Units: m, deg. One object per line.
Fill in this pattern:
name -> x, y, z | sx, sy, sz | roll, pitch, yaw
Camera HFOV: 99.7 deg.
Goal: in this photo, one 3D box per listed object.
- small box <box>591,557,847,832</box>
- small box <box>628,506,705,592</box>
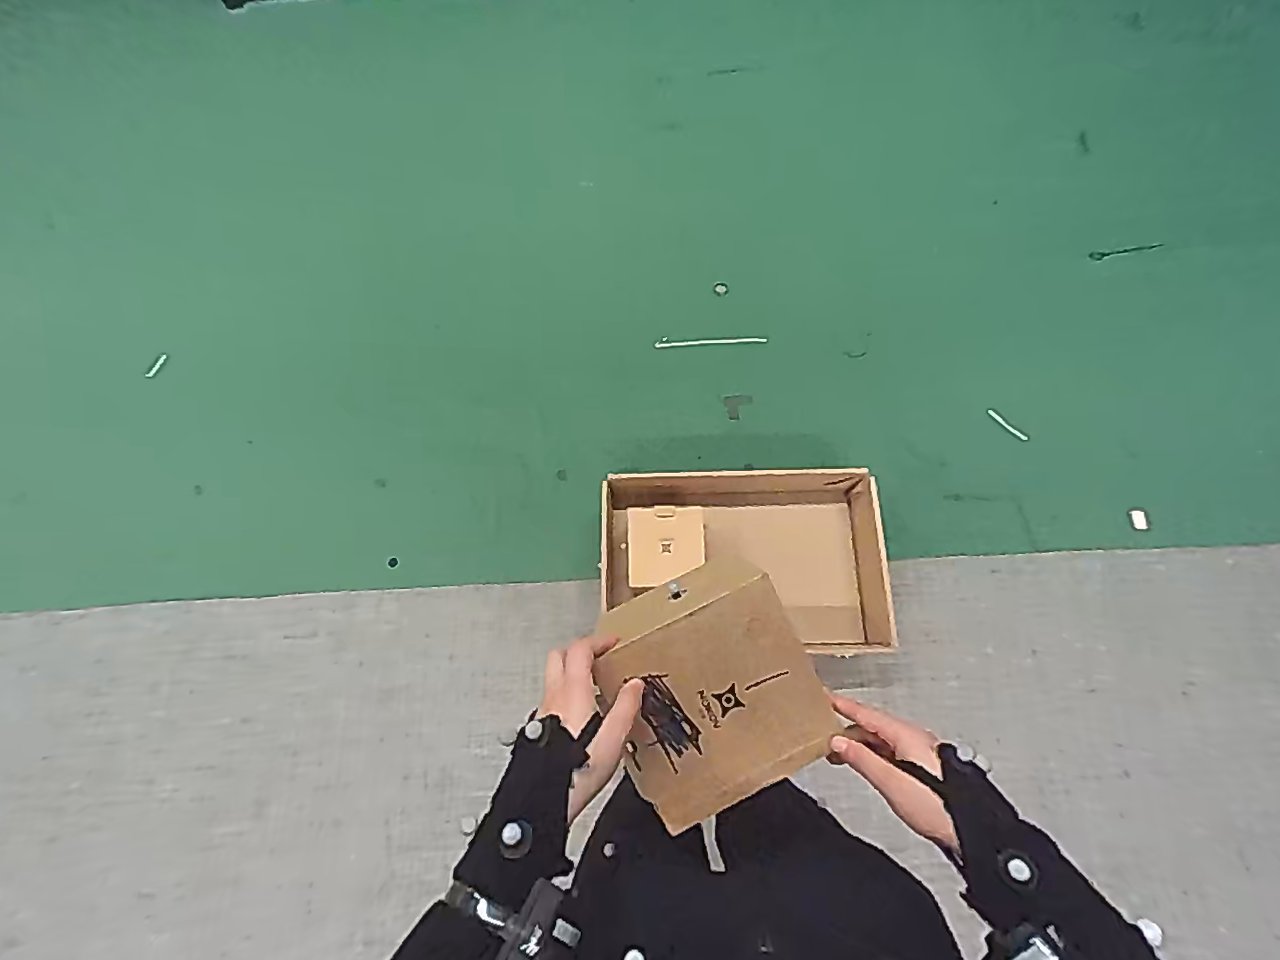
small box -> 0.067, 0.194, 0.544 | 0.179, 0.176, 0.168 | -26, 91, -2
small box -> 0.059, 0.163, 1.234 | 0.168, 0.176, 0.179 | -2, 74, 1
